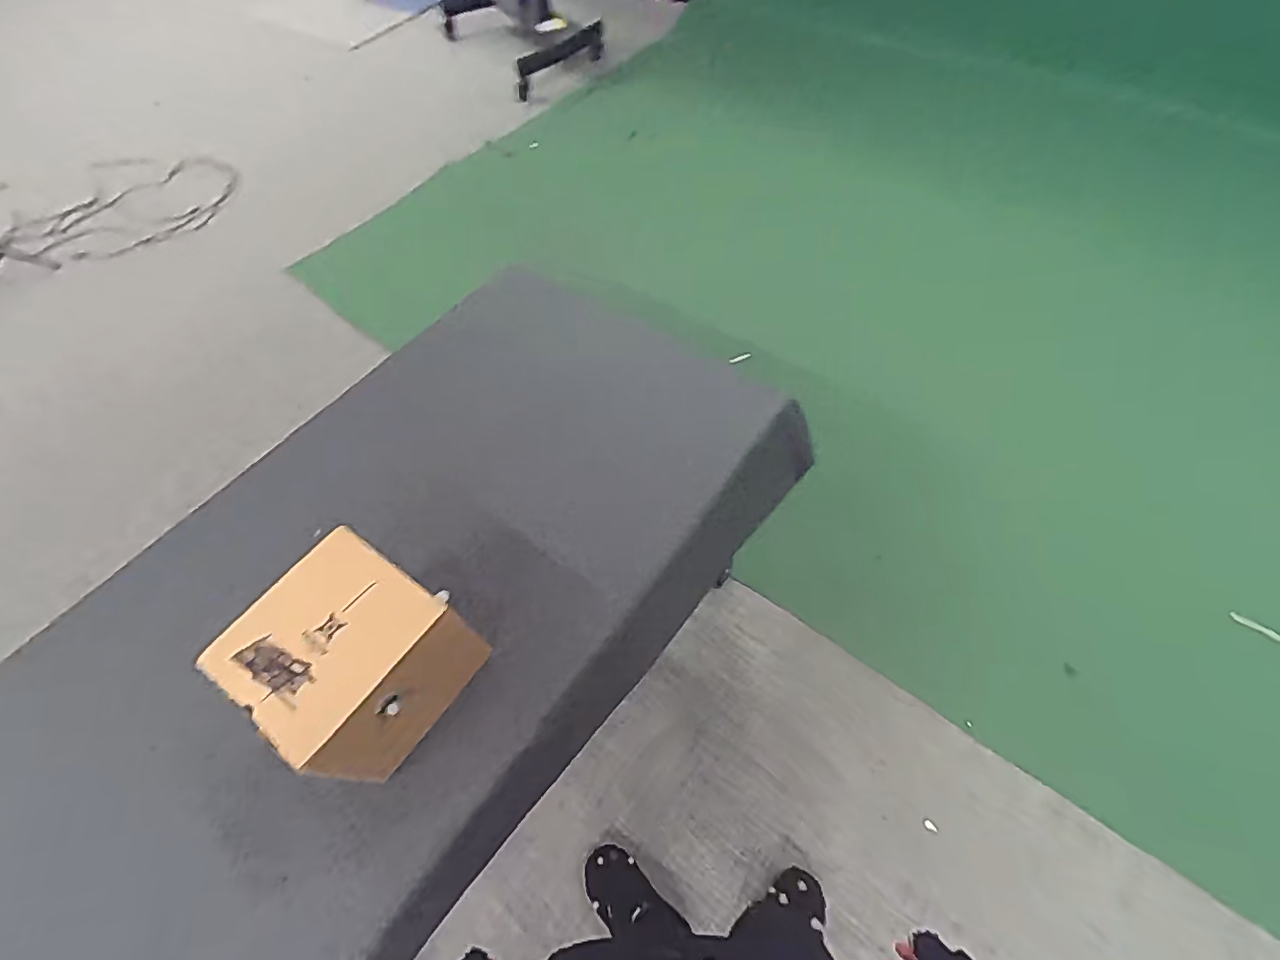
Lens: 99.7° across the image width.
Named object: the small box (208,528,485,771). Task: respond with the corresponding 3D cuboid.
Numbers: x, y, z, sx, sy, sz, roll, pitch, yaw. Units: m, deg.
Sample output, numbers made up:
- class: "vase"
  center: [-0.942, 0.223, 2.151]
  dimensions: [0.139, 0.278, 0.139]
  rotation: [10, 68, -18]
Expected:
- class: "small box"
  center: [-0.301, 0.192, 0.598]
  dimensions: [0.168, 0.176, 0.179]
  rotation: [30, 63, 20]
